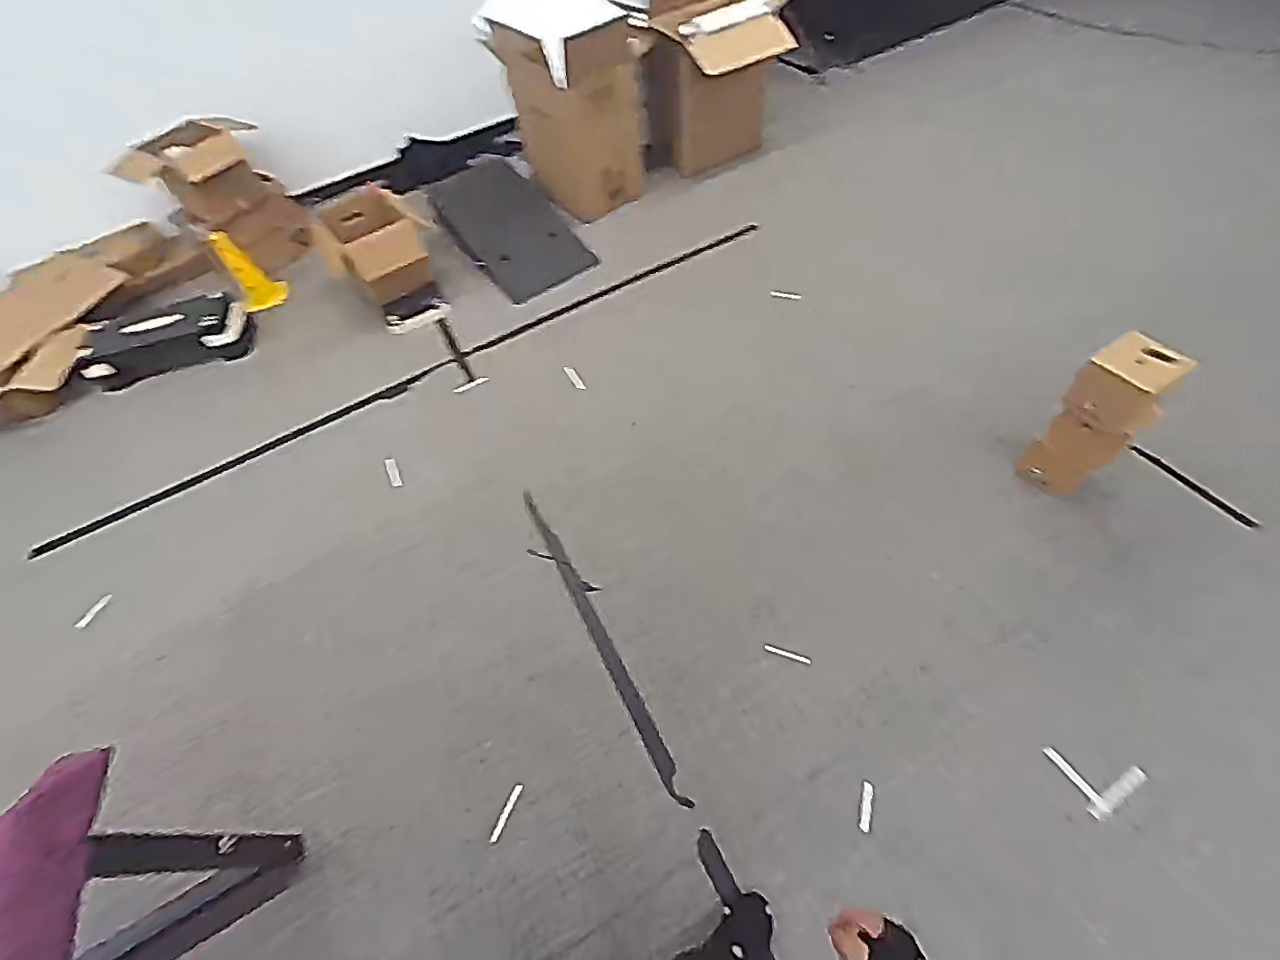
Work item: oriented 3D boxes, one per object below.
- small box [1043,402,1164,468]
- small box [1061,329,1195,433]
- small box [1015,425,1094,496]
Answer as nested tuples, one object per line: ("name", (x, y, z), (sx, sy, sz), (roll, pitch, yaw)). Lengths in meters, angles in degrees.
("small box", (1.329, -0.169, 1.567), (0.168, 0.176, 0.179), (-32, 57, -14))
("small box", (1.281, -0.260, 1.436), (0.179, 0.176, 0.168), (-29, 56, -11))
("small box", (1.338, -0.085, 1.708), (0.179, 0.176, 0.168), (-31, 57, -13))
